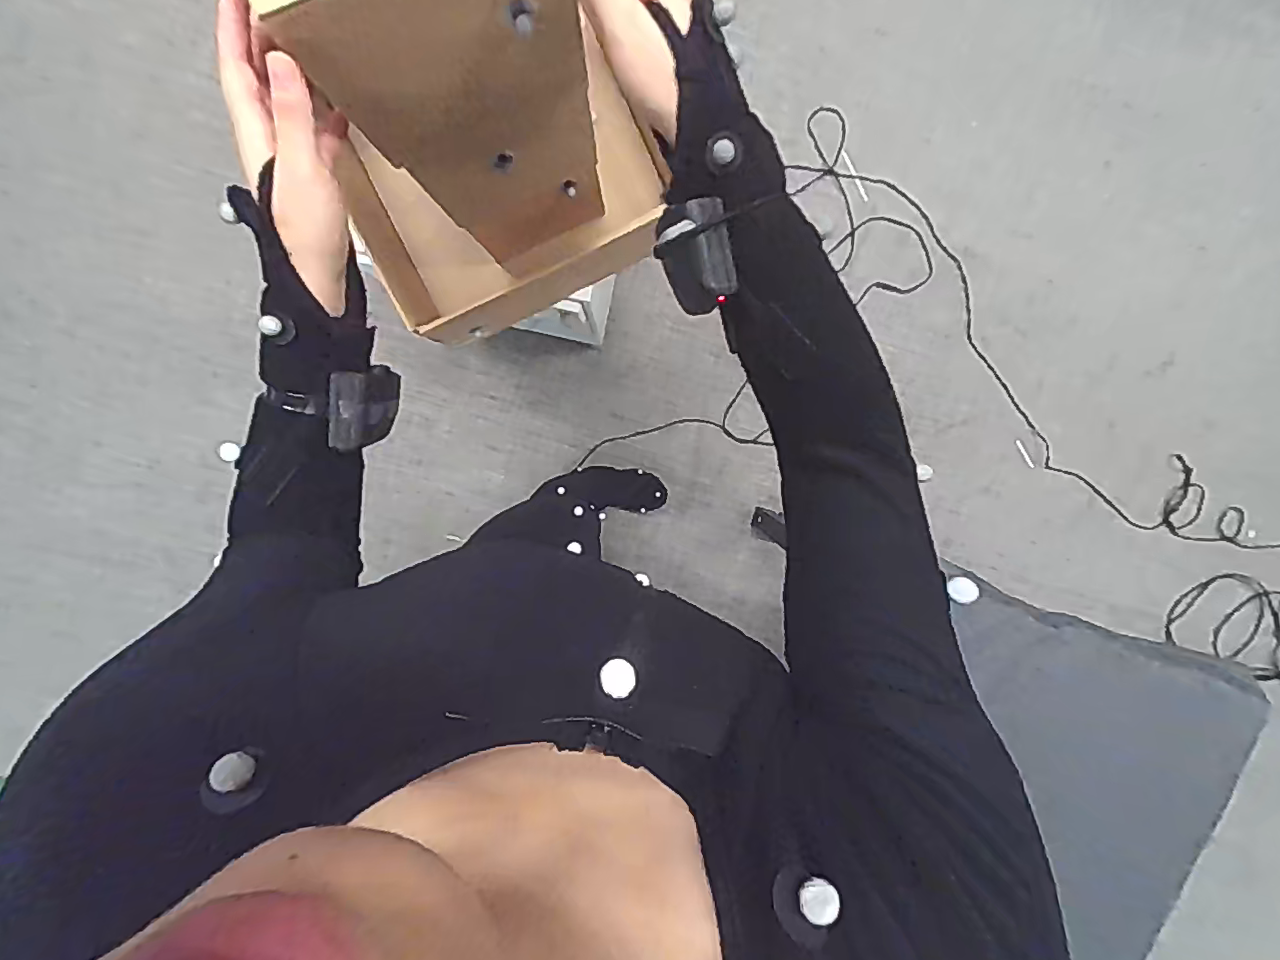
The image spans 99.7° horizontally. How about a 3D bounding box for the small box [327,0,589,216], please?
[{"bbox_3d":[-0.158,-0.392,0.520,0.179,0.176,0.168,-24,95,3],"label":"small box"}]
